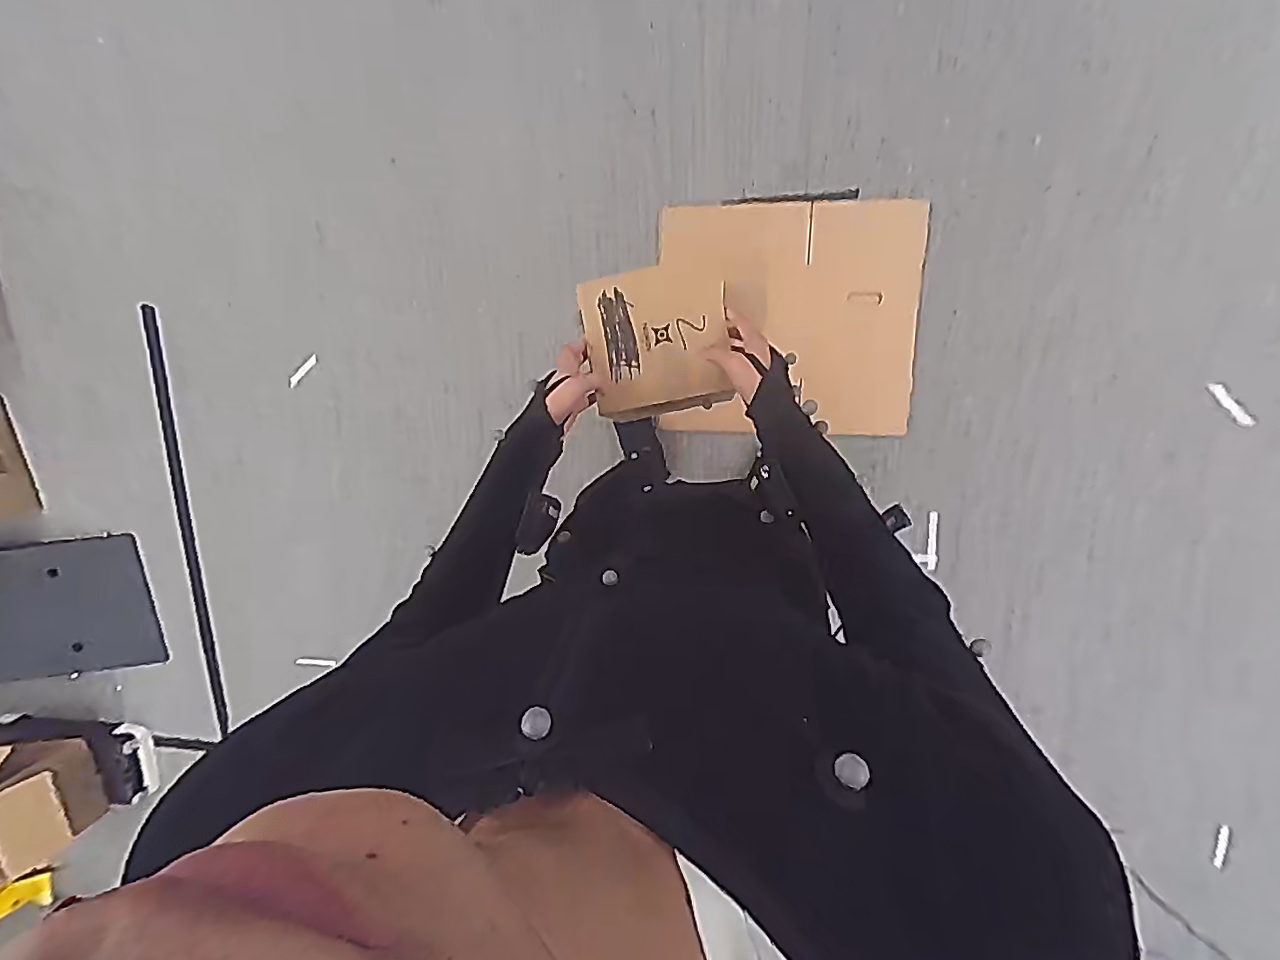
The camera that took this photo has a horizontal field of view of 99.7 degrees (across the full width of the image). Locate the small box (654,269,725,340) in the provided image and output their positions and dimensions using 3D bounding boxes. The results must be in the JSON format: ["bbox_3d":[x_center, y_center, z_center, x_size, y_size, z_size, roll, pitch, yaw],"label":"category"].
[{"bbox_3d":[0.133,-0.459,1.427,0.179,0.176,0.168,2,102,8],"label":"small box"}]
